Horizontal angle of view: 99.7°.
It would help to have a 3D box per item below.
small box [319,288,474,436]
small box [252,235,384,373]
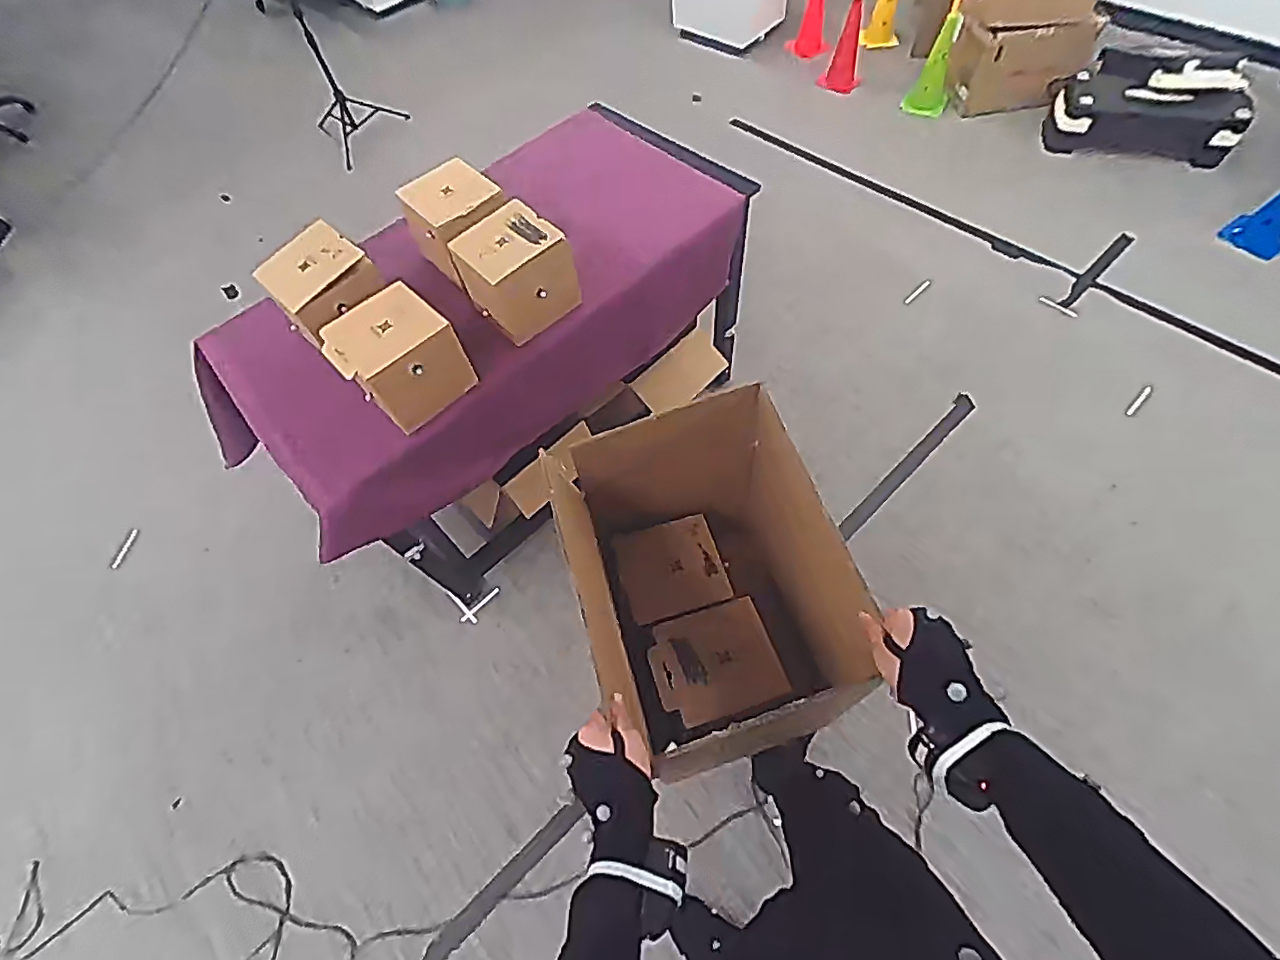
[{"bbox_3d":[-0.444,-0.216,1.015,0.179,0.176,0.168,-42,67,-17],"label":"small box"},{"bbox_3d":[-0.623,-0.352,1.102,0.168,0.176,0.179,39,70,21],"label":"small box"}]
